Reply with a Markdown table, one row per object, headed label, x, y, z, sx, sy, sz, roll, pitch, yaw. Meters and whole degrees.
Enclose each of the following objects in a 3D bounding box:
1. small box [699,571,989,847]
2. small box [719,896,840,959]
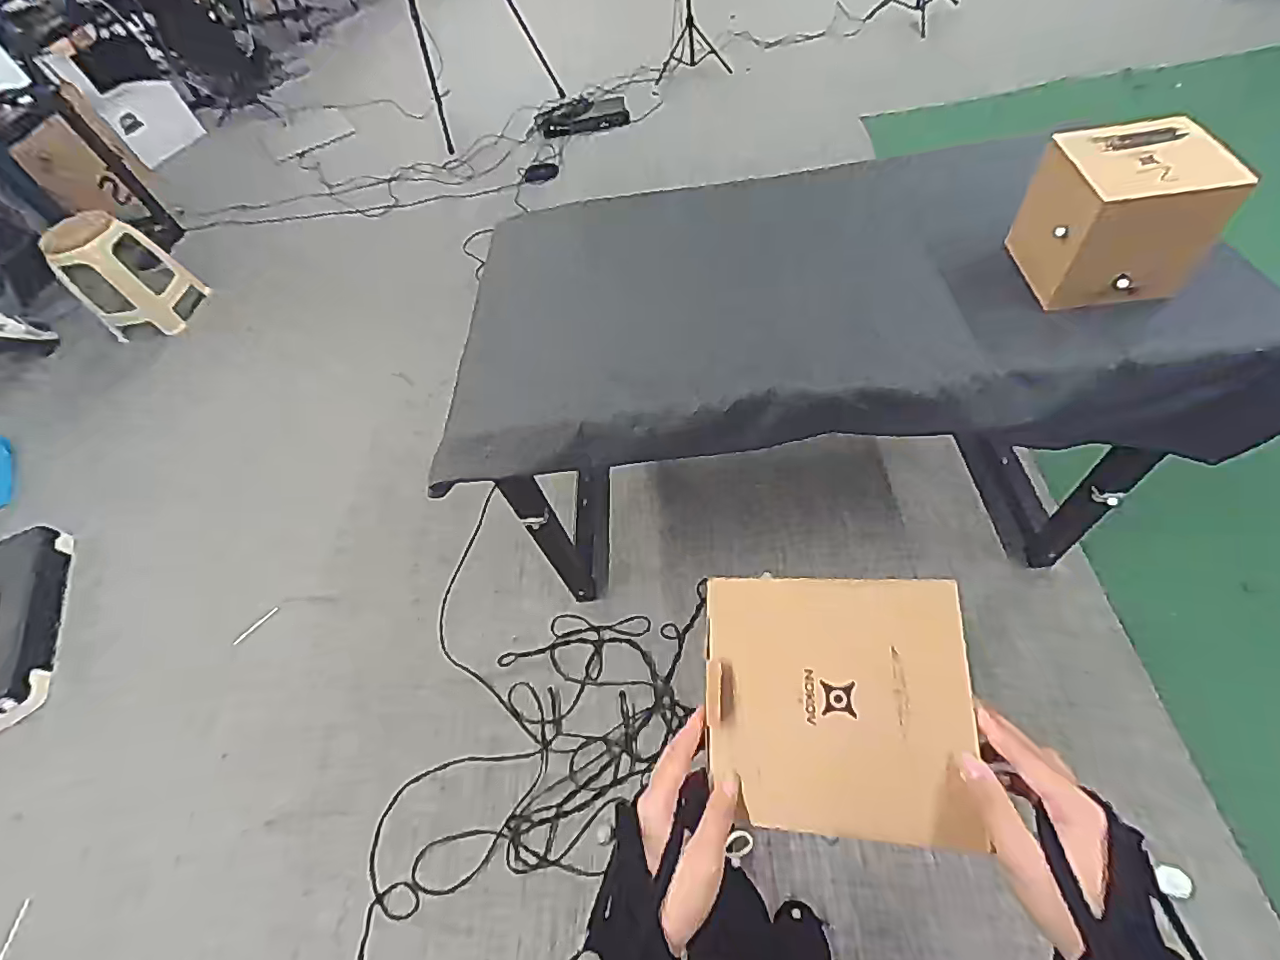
| label | x | y | z | sx | sy | sz | roll | pitch | yaw |
| --- | --- | --- | --- | --- | --- | --- | --- | --- | --- |
| small box | 0.147 | 0.171 | 0.440 | 0.179 | 0.176 | 0.168 | -2 | 71 | 13 |
| small box | 0.234 | 0.841 | 0.867 | 0.176 | 0.168 | 0.179 | -47 | 72 | 5 |
